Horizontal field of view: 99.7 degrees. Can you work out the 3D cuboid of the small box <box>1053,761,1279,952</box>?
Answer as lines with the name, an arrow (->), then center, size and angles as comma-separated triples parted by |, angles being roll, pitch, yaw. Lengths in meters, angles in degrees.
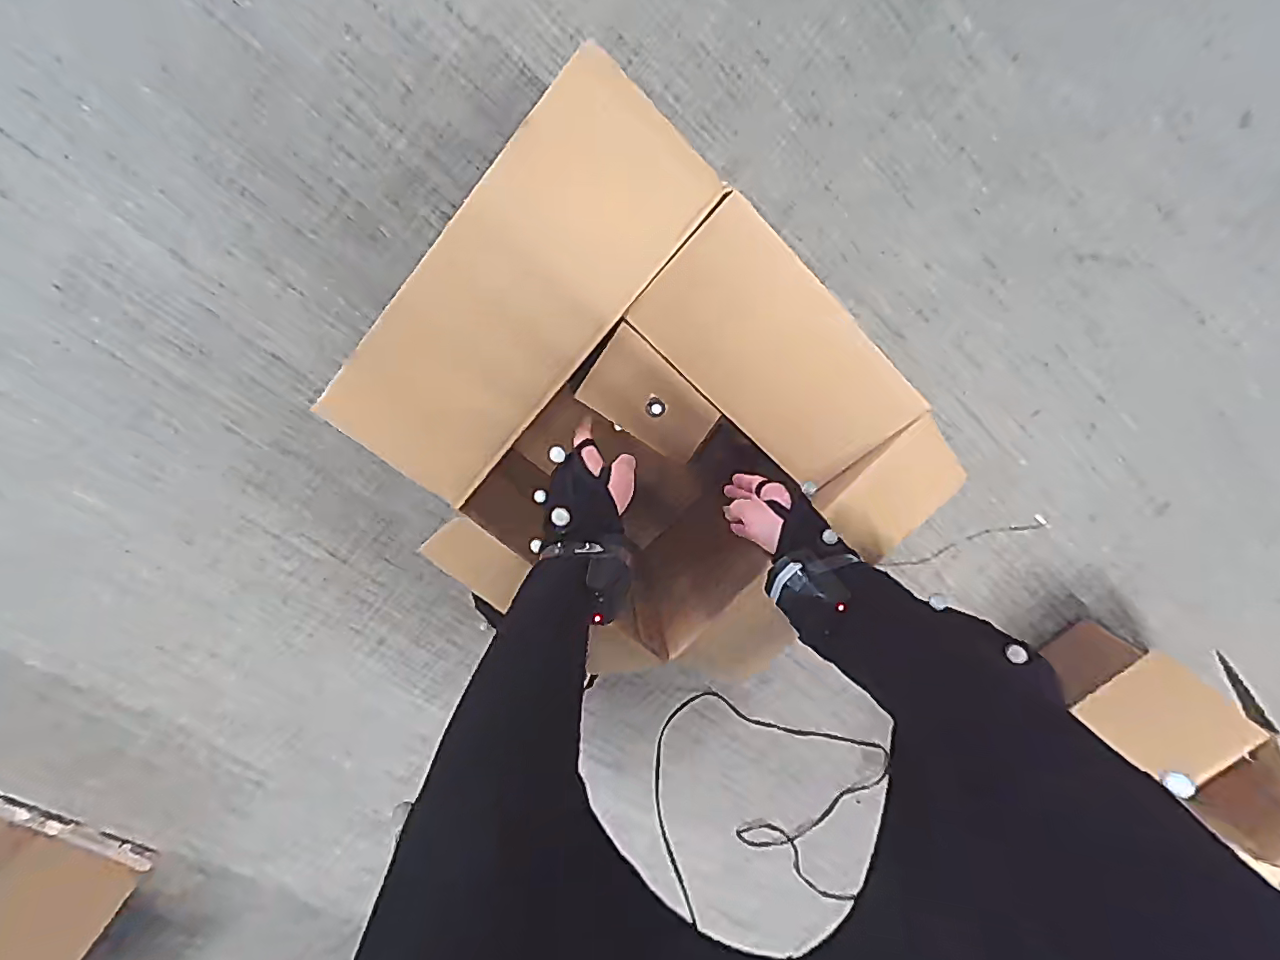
small box -> 0.839, 0.601, 0.880 | 0.168, 0.176, 0.179 | 32, 102, -15
